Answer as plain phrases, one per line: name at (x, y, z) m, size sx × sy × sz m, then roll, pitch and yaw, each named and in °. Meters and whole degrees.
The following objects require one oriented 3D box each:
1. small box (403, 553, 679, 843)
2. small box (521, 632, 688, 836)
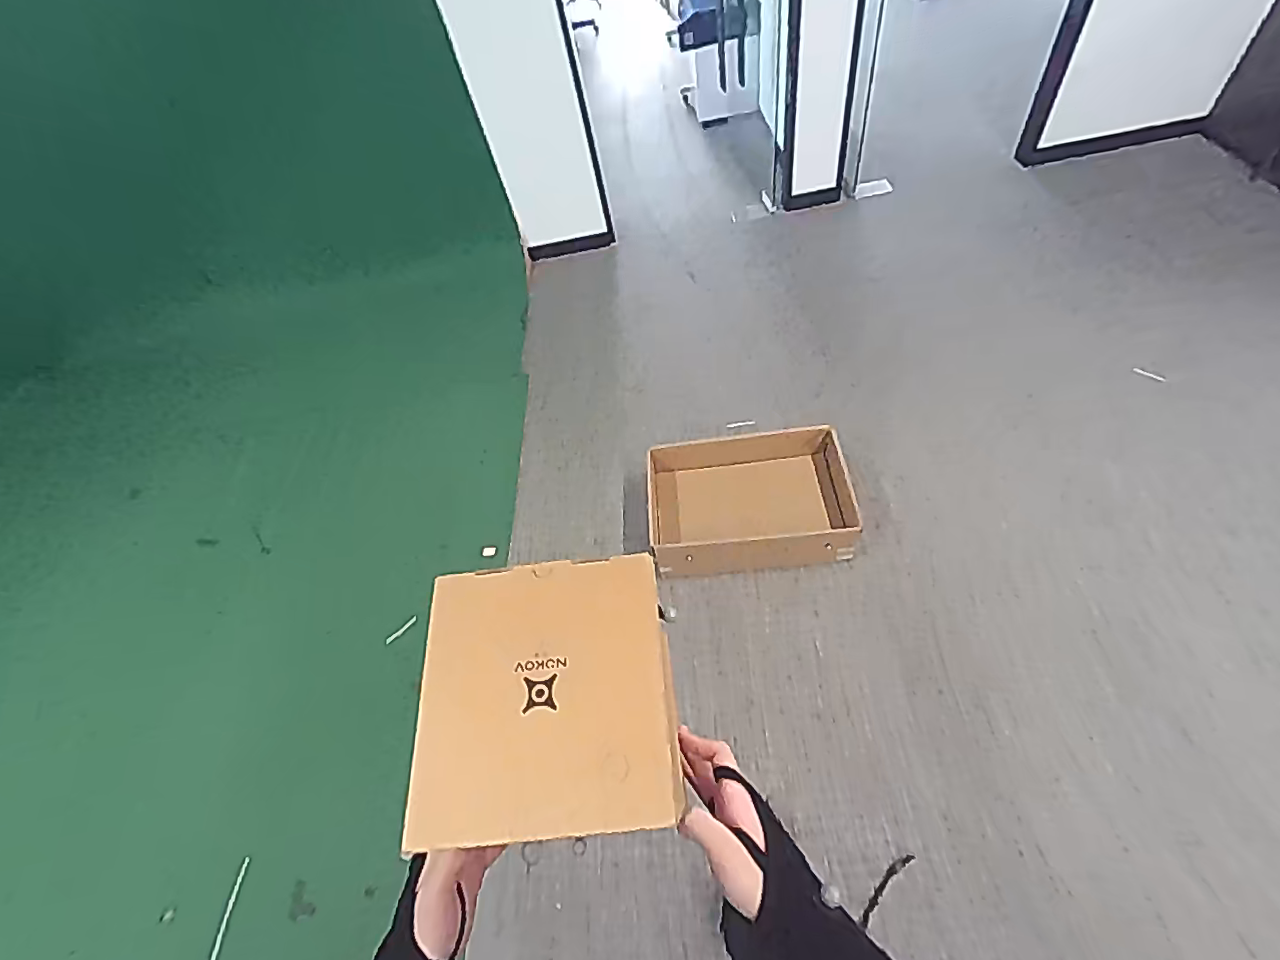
small box at (-0.060, 0.178, 0.433) m, size 0.168 × 0.176 × 0.179 m, roll -6°, pitch 57°, yaw 2°
small box at (-0.045, 0.271, 0.566) m, size 0.179 × 0.176 × 0.168 m, roll -6°, pitch 58°, yaw 1°
